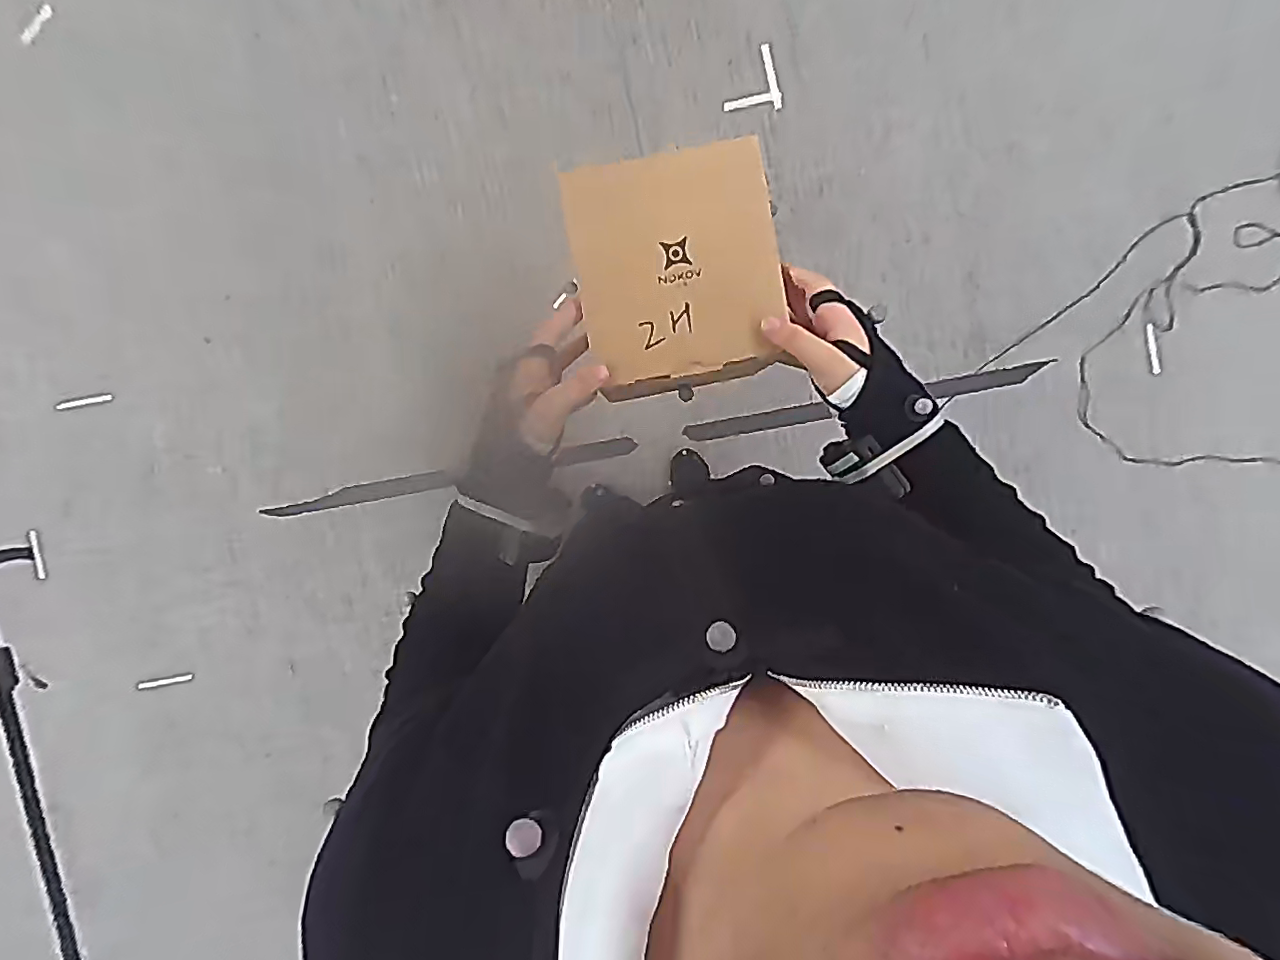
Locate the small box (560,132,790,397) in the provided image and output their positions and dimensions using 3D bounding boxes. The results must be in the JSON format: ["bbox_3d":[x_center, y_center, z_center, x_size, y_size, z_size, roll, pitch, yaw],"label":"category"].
[{"bbox_3d":[0.029,-0.185,0.519,0.168,0.176,0.179,-11,94,2],"label":"small box"}]
